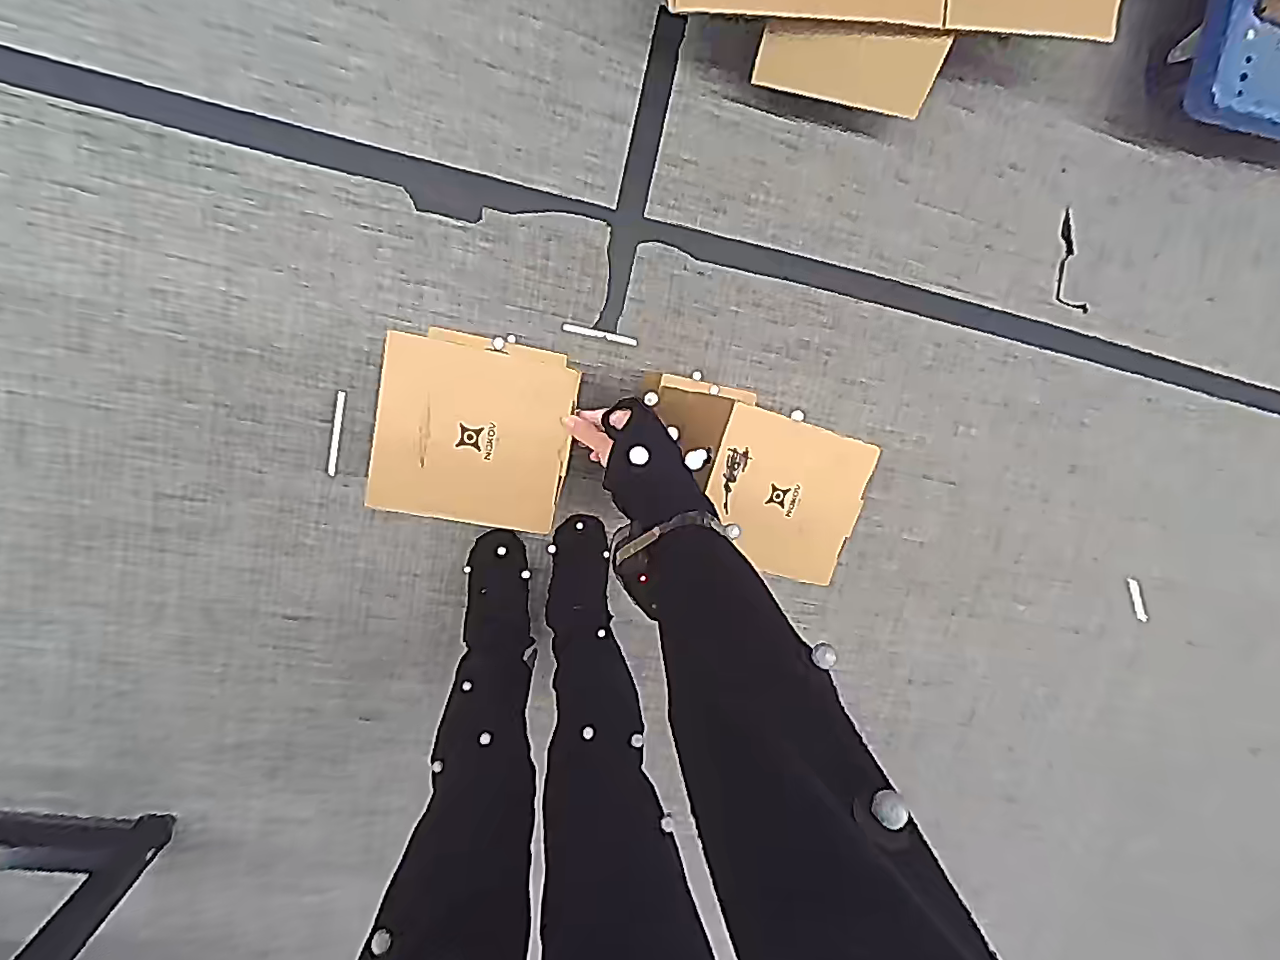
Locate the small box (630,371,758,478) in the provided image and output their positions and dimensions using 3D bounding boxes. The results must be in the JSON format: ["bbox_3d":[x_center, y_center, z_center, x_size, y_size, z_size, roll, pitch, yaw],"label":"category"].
[{"bbox_3d":[0.084,-0.089,0.952,0.168,0.176,0.179,10,100,-12],"label":"small box"}]

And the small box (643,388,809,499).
[{"bbox_3d":[0.113,-0.037,0.798,0.179,0.176,0.168,12,101,-13],"label":"small box"}]

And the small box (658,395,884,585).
[{"bbox_3d":[0.140,0.002,0.641,0.179,0.176,0.168,15,99,-14],"label":"small box"}]

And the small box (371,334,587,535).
[{"bbox_3d":[-0.163,-0.052,0.579,0.179,0.176,0.168,9,98,-11],"label":"small box"}]
